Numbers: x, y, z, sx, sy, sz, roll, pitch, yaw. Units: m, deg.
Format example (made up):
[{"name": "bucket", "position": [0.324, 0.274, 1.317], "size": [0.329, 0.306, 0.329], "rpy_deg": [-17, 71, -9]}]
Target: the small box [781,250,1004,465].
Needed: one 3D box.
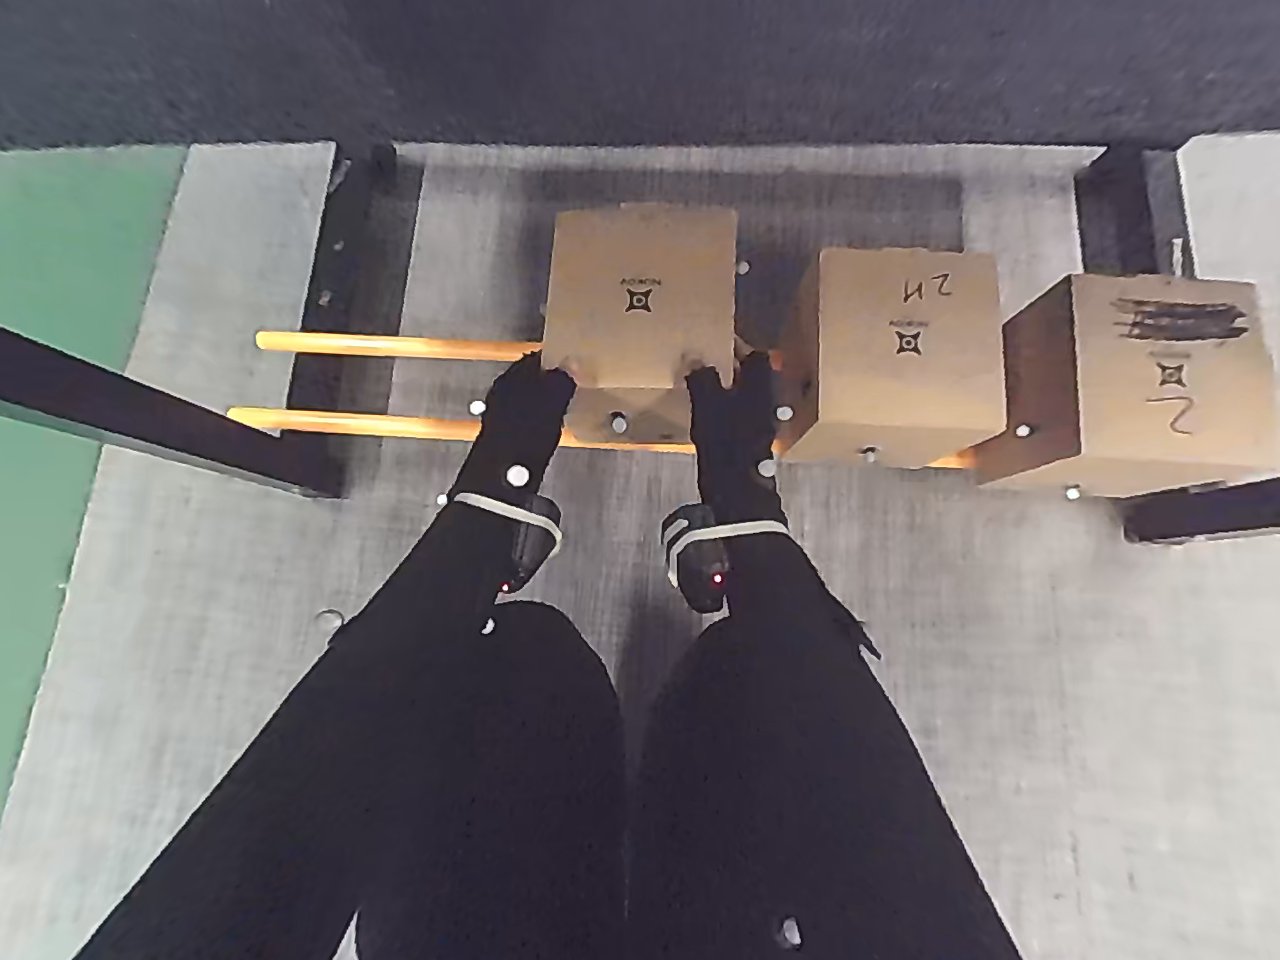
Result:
[{"name": "small box", "position": [0.250, -0.117, 0.575], "size": [0.168, 0.176, 0.179], "rpy_deg": [2, 79, 4]}]
